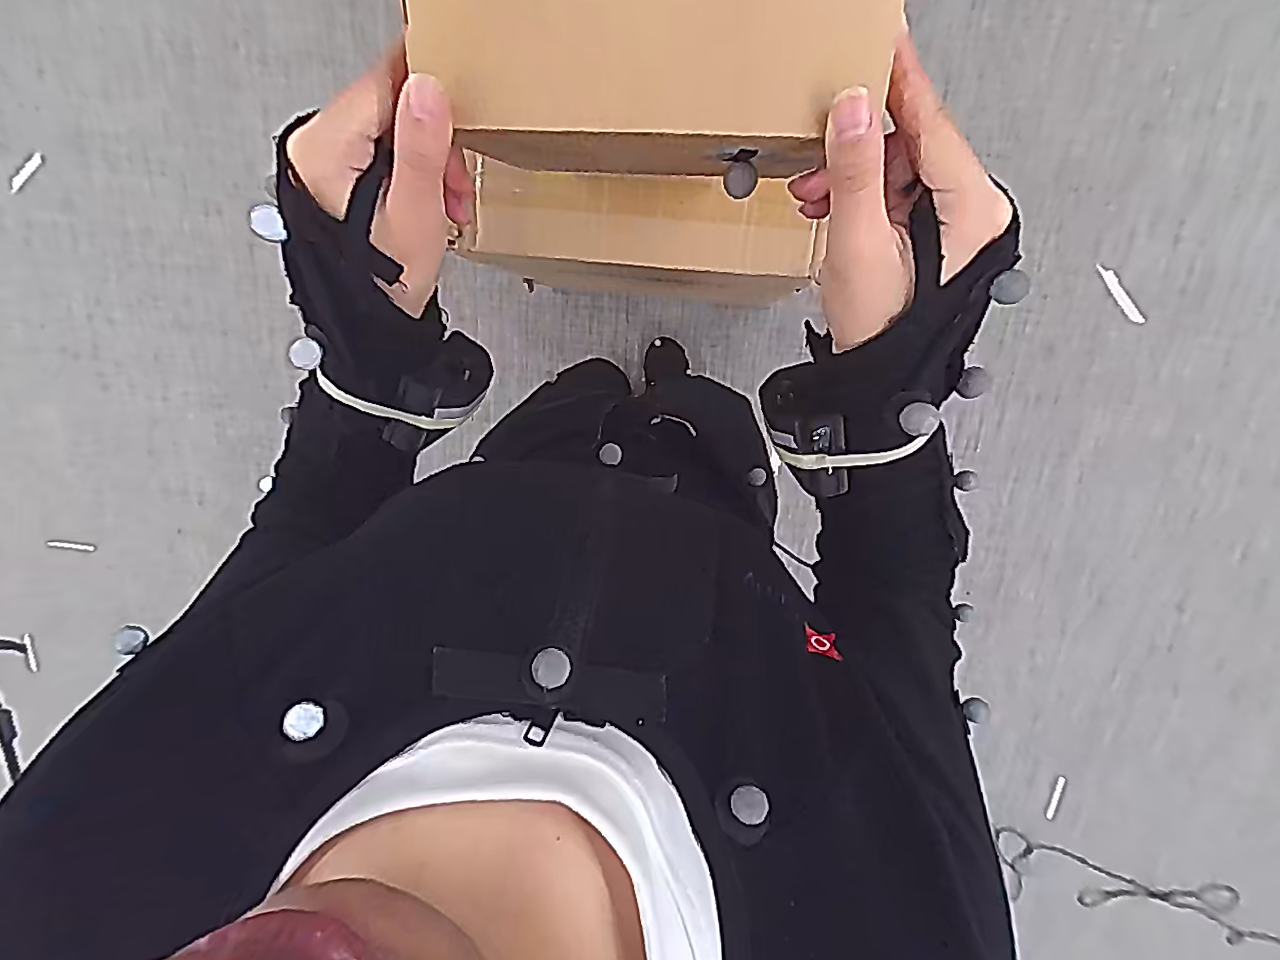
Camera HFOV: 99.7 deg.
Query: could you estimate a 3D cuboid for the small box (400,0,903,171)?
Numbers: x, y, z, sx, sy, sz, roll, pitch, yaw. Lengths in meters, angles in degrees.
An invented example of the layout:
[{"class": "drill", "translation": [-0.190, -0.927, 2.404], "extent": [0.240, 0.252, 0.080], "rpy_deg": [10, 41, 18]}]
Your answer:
[{"class": "small box", "translation": [0.008, -0.240, 0.237], "extent": [0.179, 0.176, 0.168], "rpy_deg": [3, 114, 2]}]
